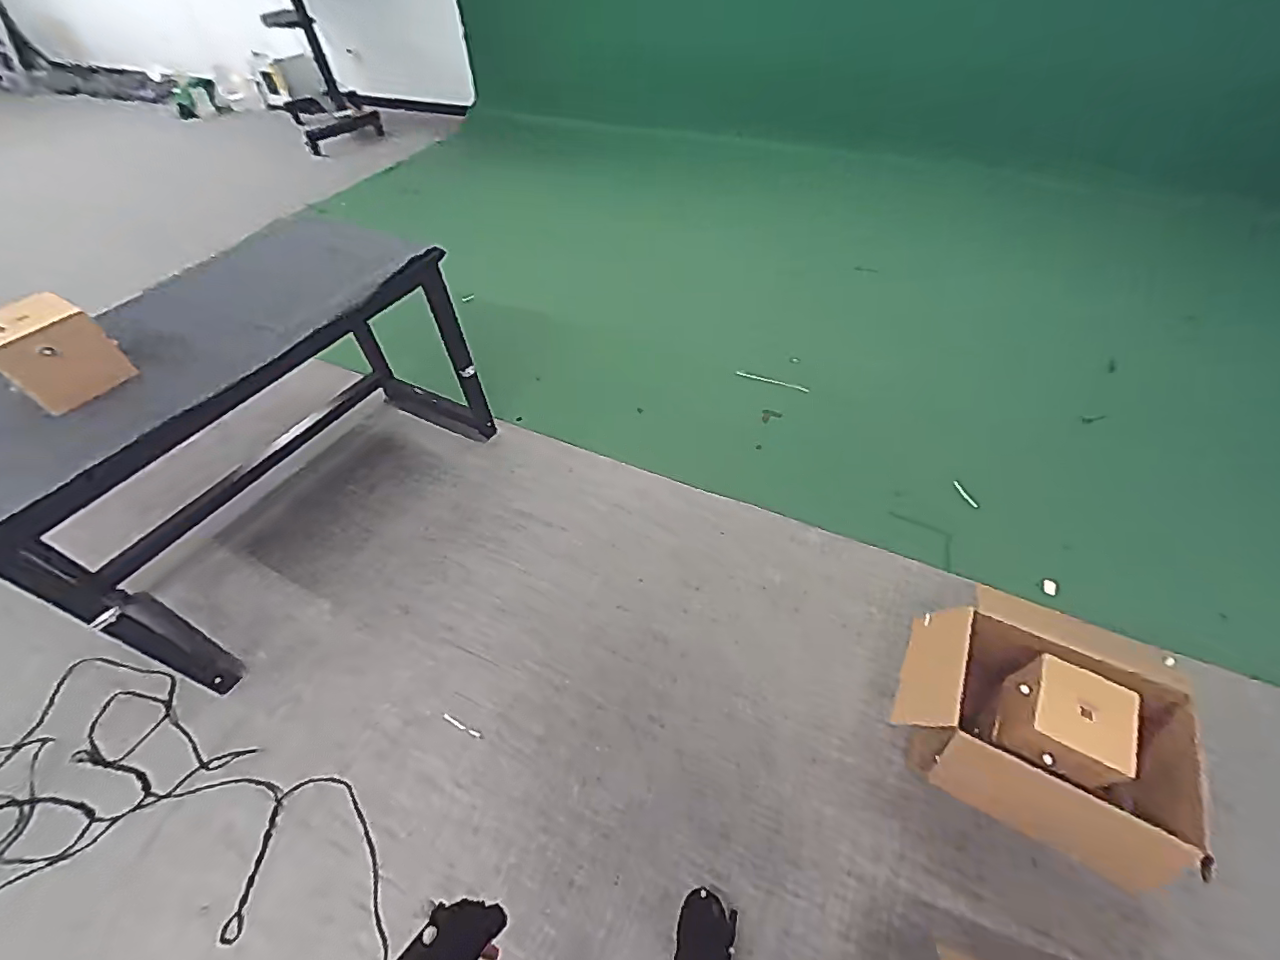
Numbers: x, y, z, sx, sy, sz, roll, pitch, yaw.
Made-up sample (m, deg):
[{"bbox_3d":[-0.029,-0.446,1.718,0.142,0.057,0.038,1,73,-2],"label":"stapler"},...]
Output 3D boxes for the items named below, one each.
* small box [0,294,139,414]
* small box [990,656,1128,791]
[{"bbox_3d":[-1.268,-0.271,1.174,0.168,0.176,0.179,24,53,22],"label":"small box"},{"bbox_3d":[0.856,0.506,1.115,0.168,0.176,0.179,24,55,21],"label":"small box"}]
